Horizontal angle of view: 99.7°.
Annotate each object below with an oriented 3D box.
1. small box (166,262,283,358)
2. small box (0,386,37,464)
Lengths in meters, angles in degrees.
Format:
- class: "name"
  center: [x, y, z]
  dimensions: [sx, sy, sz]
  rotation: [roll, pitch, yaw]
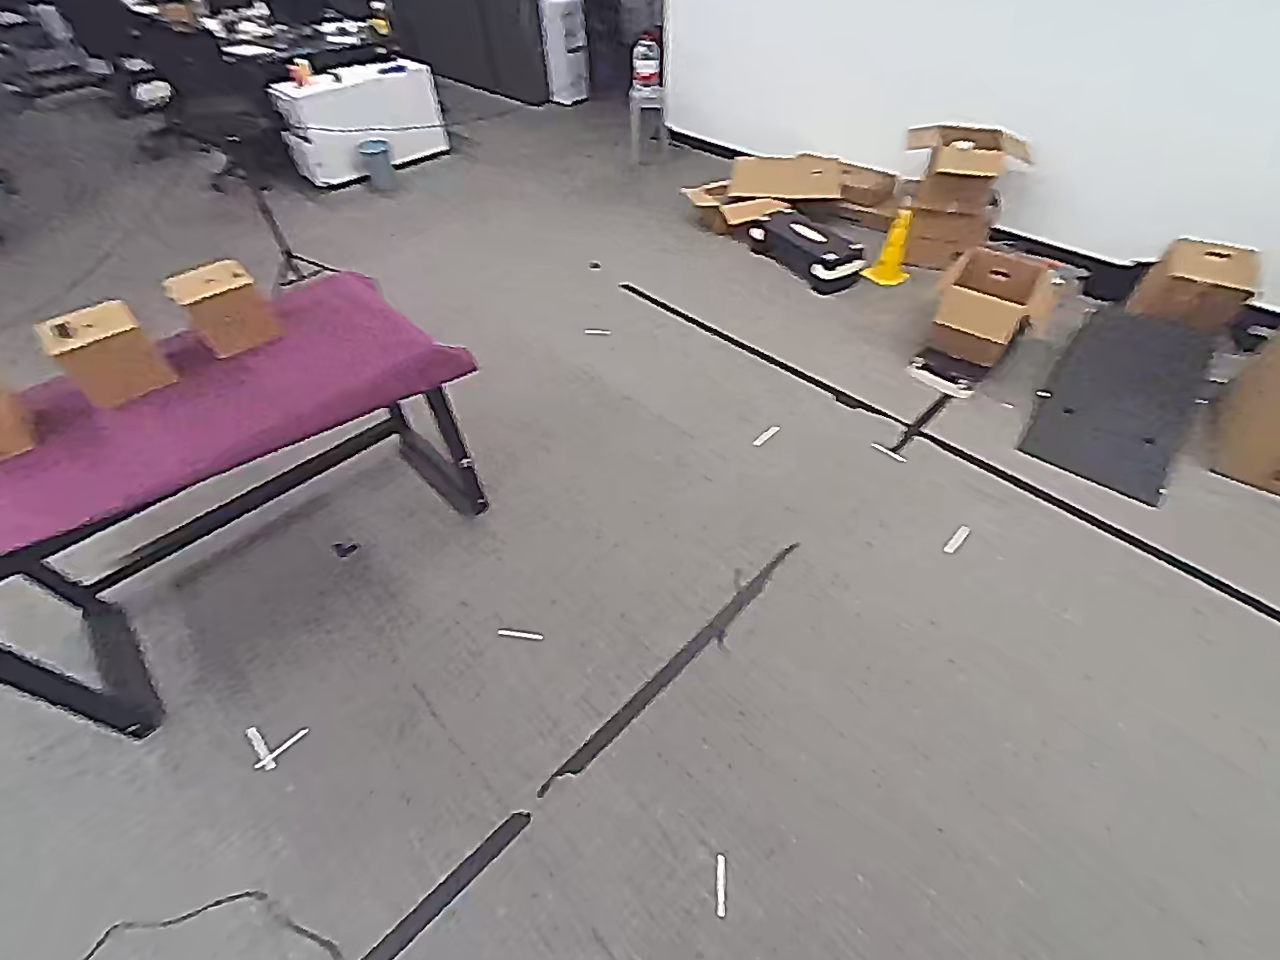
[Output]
- class: "small box"
  center: [-1.135, -0.465, 1.489]
  dimensions: [0.179, 0.176, 0.168]
  rotation: [-37, 60, -25]
- class: "small box"
  center: [-1.521, -0.131, 1.213]
  dimensions: [0.168, 0.176, 0.179]
  rotation: [-31, 55, -24]
